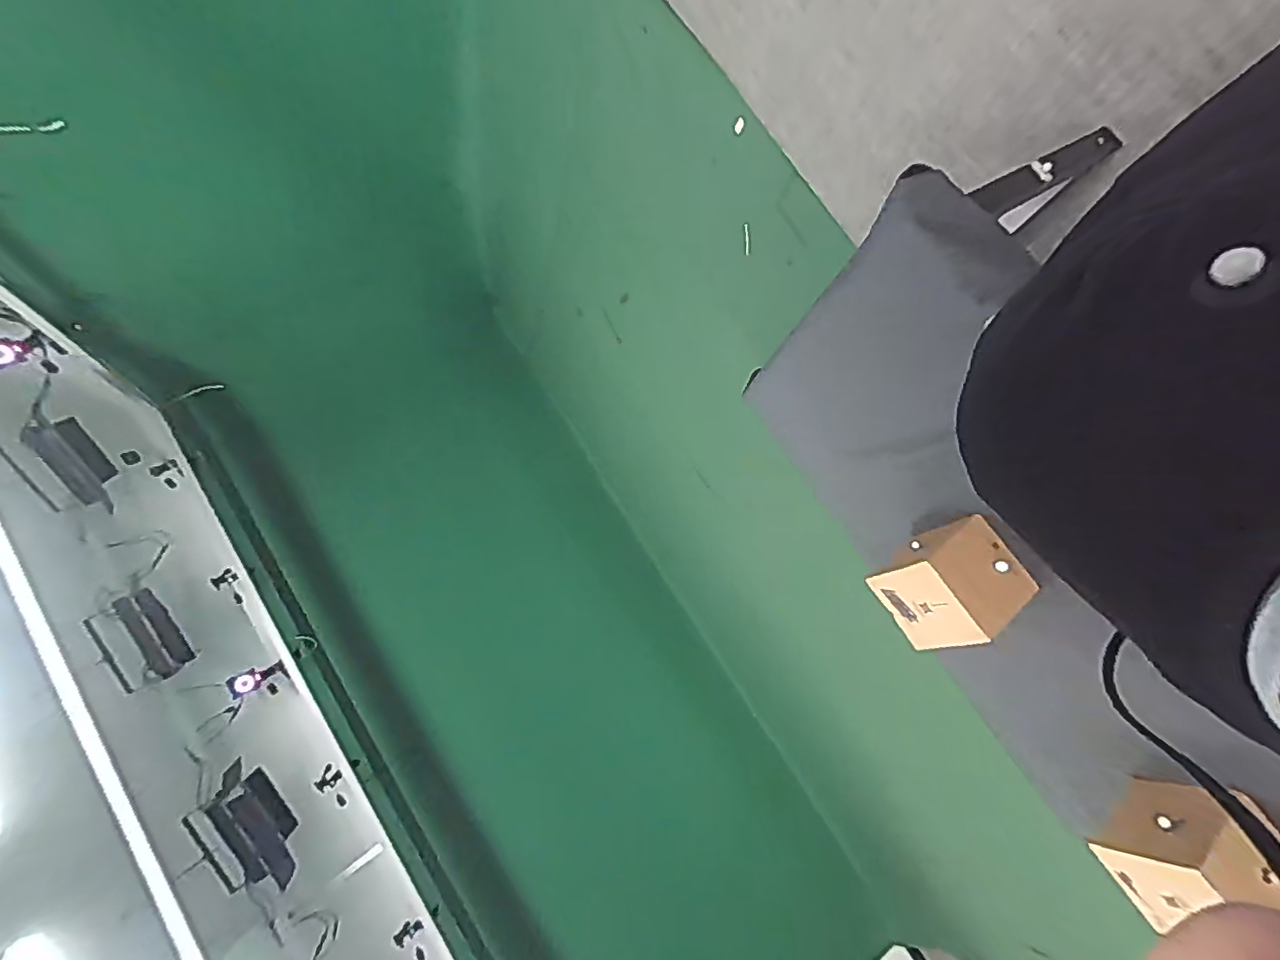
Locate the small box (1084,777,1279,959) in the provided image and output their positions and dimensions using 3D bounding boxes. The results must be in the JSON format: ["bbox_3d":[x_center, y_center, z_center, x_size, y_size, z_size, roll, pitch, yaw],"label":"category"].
[{"bbox_3d":[0.900,0.618,0.885,0.168,0.176,0.179,54,155,11],"label":"small box"}]

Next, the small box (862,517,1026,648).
[{"bbox_3d":[0.572,0.195,1.024,0.168,0.176,0.179,55,155,9],"label":"small box"}]
